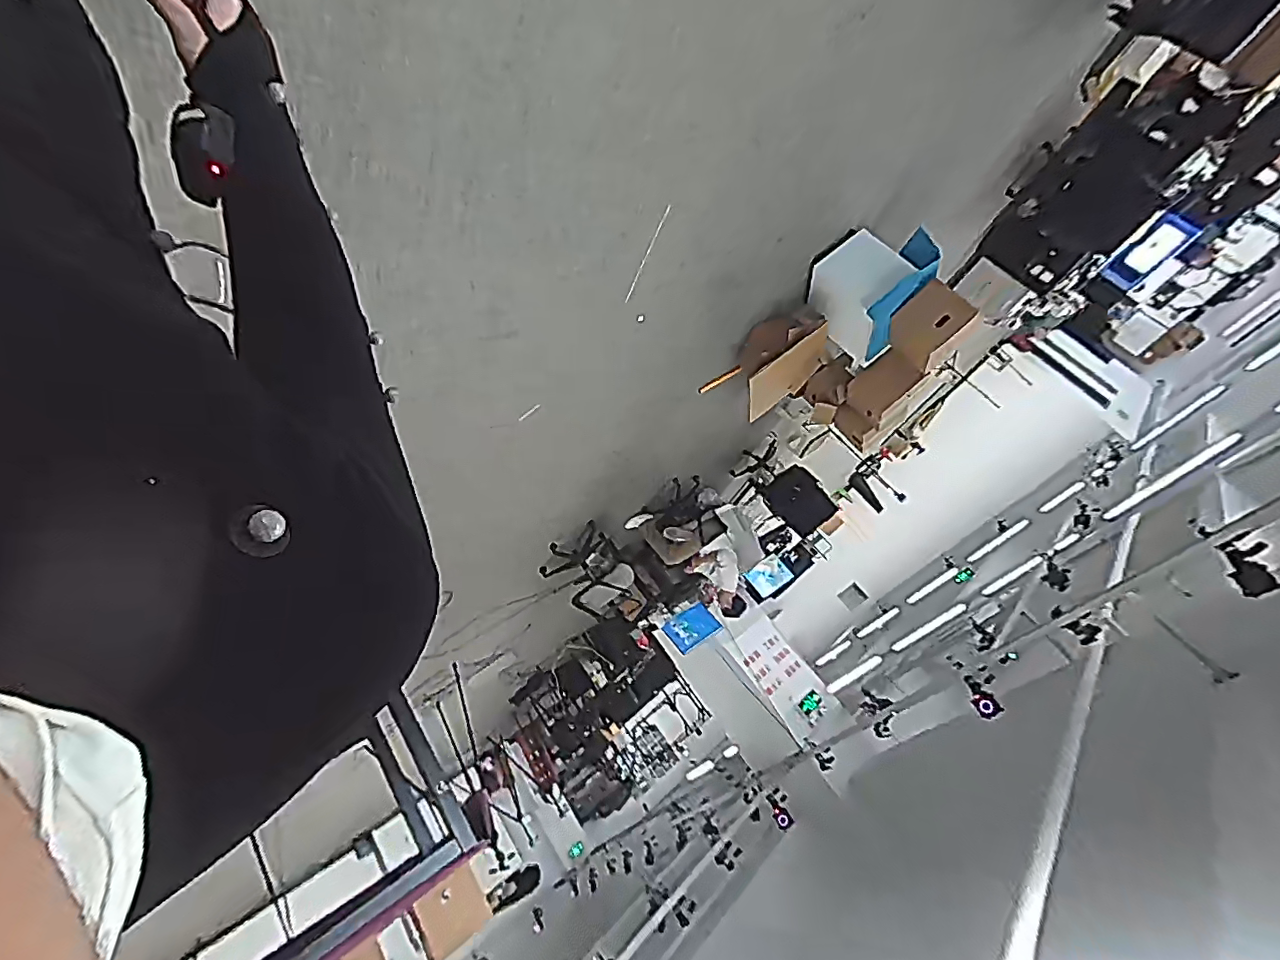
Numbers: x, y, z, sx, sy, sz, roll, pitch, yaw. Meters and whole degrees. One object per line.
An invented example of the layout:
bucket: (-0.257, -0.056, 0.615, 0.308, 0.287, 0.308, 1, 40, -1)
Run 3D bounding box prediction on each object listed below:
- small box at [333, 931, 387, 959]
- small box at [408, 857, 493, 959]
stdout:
small box: (-0.759, 1.336, 1.419, 0.168, 0.176, 0.179, -17, 152, -44)
small box: (-0.566, 1.267, 1.601, 0.179, 0.176, 0.168, -20, 153, -40)
